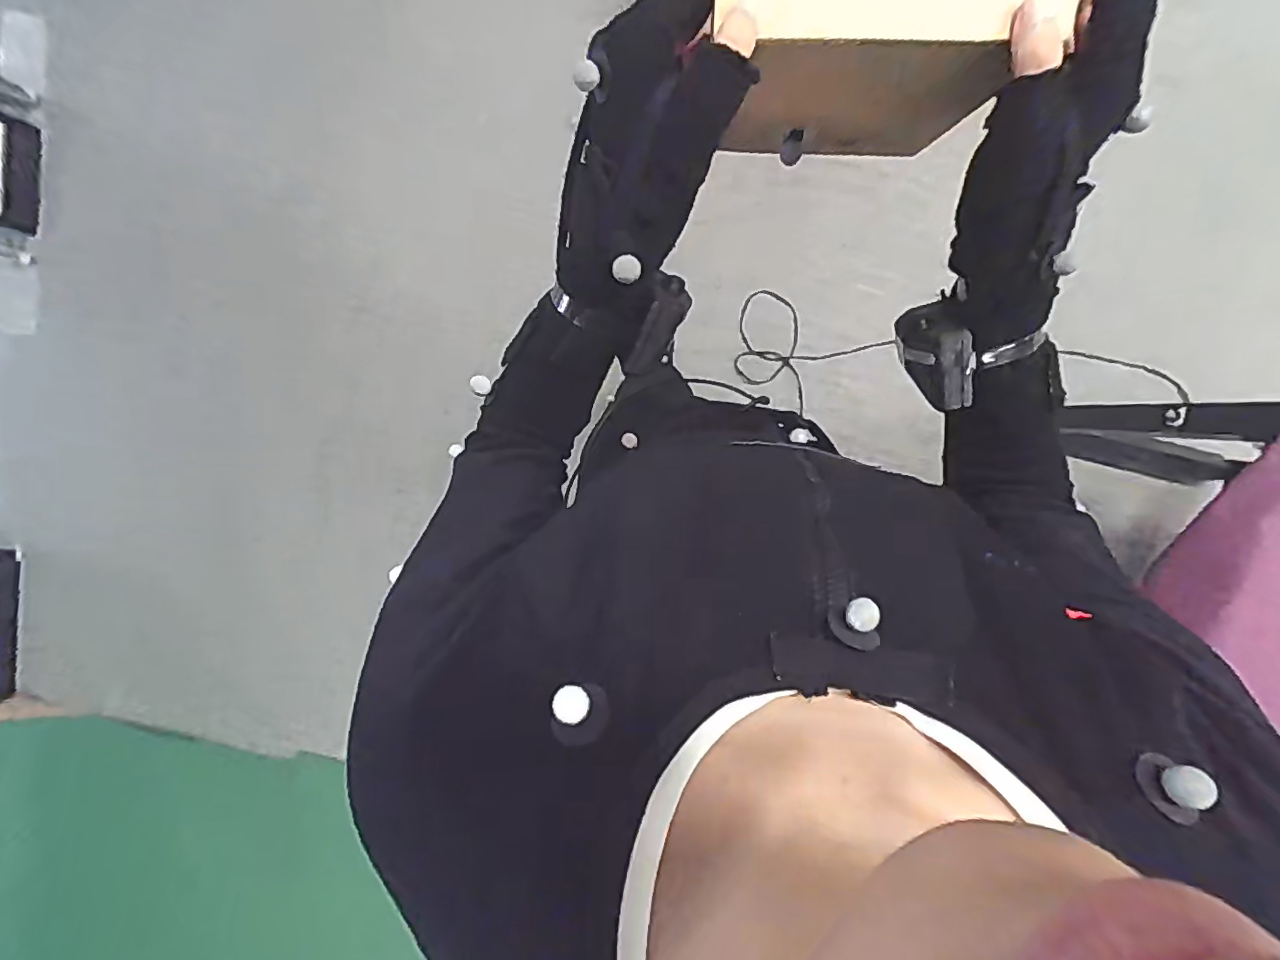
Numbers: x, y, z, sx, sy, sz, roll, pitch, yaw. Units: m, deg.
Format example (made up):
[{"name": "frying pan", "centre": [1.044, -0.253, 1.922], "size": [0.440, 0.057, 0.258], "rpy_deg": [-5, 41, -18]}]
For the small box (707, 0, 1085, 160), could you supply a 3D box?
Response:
[{"name": "small box", "centre": [0.129, -0.309, 0.309], "size": [0.168, 0.176, 0.179], "rpy_deg": [3, 106, 3]}]
